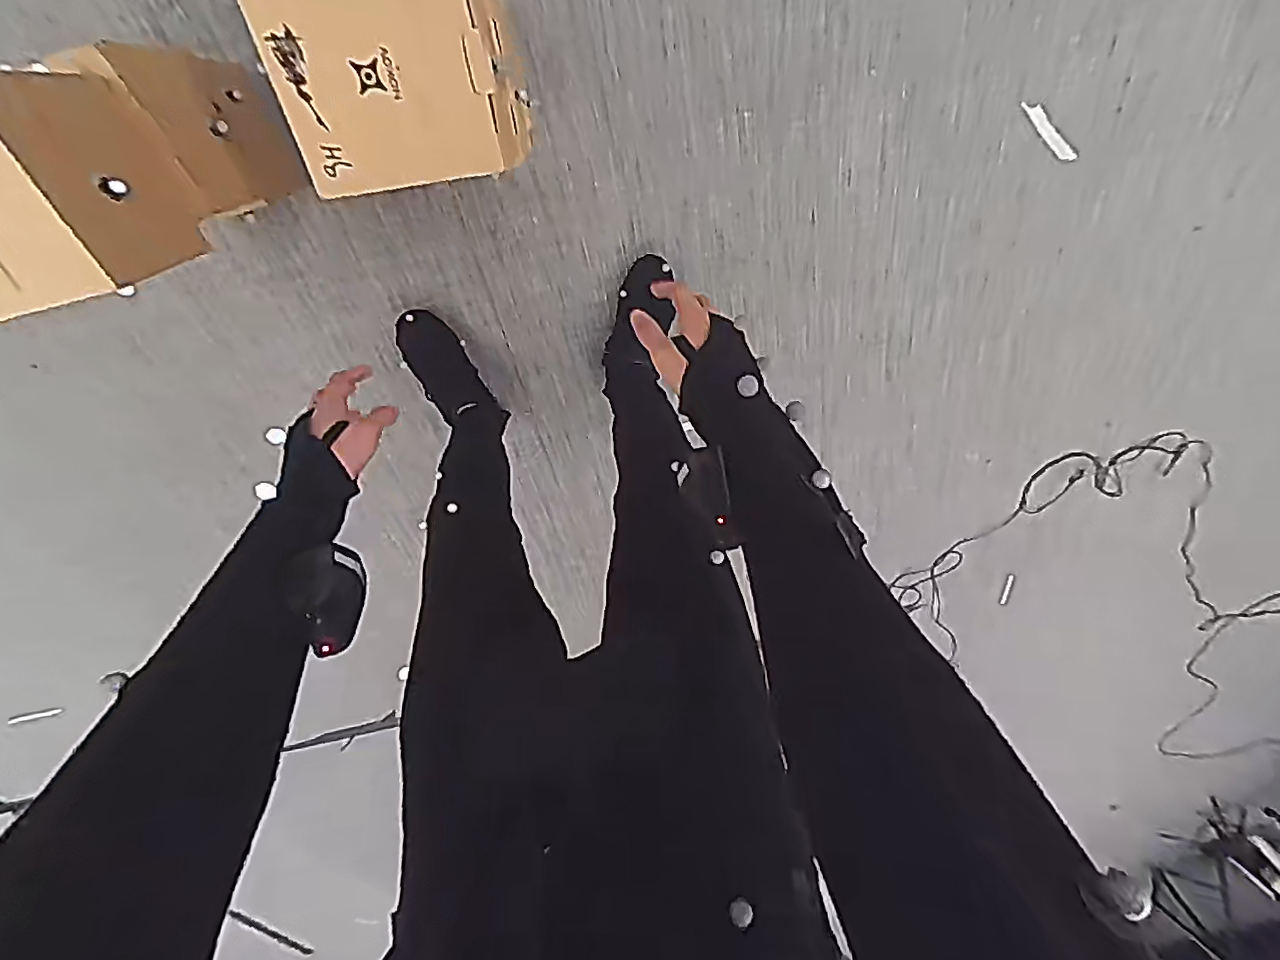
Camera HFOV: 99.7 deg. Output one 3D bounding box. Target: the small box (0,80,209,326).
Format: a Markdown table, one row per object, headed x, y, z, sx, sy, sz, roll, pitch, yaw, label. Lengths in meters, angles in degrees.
| x | y | z | sx | sy | sz | roll | pitch | yaw | label |
| --- | --- | --- | --- | --- | --- | --- | --- | --- | --- |
| -0.595 | -0.273 | 0.534 | 0.168 | 0.176 | 0.179 | -13 | 127 | 3 | small box |

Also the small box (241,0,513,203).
| x | y | z | sx | sy | sz | roll | pitch | yaw | label |
| --- | --- | --- | --- | --- | --- | --- | --- | --- | --- |
| -0.225 | -0.377 | 0.515 | 0.179 | 0.176 | 0.168 | -10 | 125 | -3 | small box |

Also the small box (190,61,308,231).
| x | y | z | sx | sy | sz | roll | pitch | yaw | label |
| --- | --- | --- | --- | --- | --- | --- | --- | --- | --- |
| -0.634 | -0.478 | 0.788 | 0.168 | 0.176 | 0.179 | -16 | 126 | 4 | small box |

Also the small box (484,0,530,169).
| x | y | z | sx | sy | sz | roll | pitch | yaw | label |
| --- | --- | --- | --- | --- | --- | --- | --- | --- | --- |
| -0.238 | -0.467 | 0.652 | 0.179 | 0.176 | 0.168 | -9 | 126 | -2 | small box |

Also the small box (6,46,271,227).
| x | y | z | sx | sy | sz | roll | pitch | yaw | label |
| --- | --- | --- | --- | --- | --- | --- | --- | --- | --- |
| -0.604 | -0.390 | 0.653 | 0.179 | 0.176 | 0.168 | -17 | 125 | 4 | small box |
